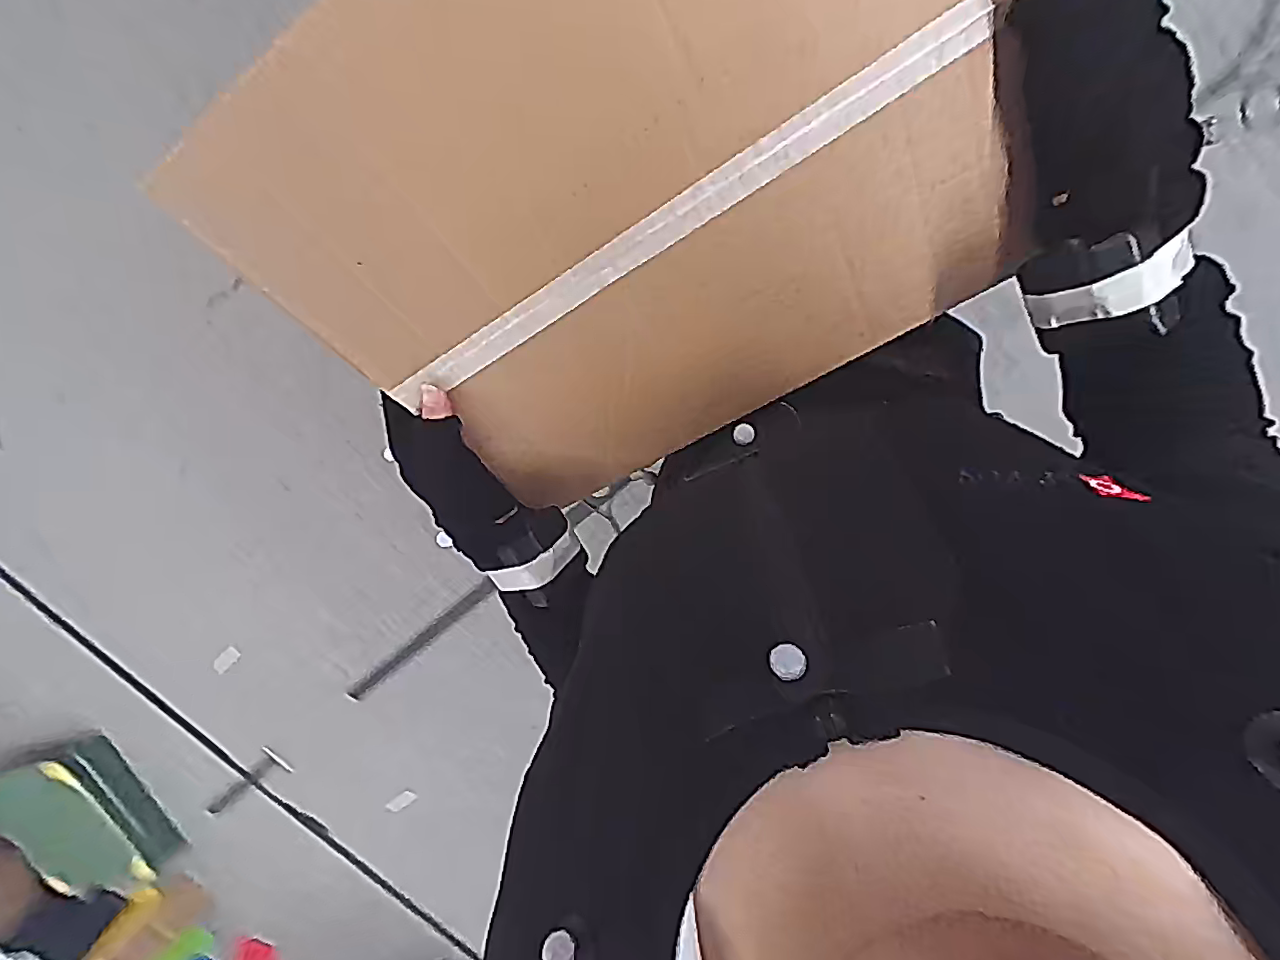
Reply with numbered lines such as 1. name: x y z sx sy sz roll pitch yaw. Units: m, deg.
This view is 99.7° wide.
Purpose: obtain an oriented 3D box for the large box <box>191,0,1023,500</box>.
1. large box: -0.006 -0.255 0.418 0.408 0.320 0.320 -26 134 17
